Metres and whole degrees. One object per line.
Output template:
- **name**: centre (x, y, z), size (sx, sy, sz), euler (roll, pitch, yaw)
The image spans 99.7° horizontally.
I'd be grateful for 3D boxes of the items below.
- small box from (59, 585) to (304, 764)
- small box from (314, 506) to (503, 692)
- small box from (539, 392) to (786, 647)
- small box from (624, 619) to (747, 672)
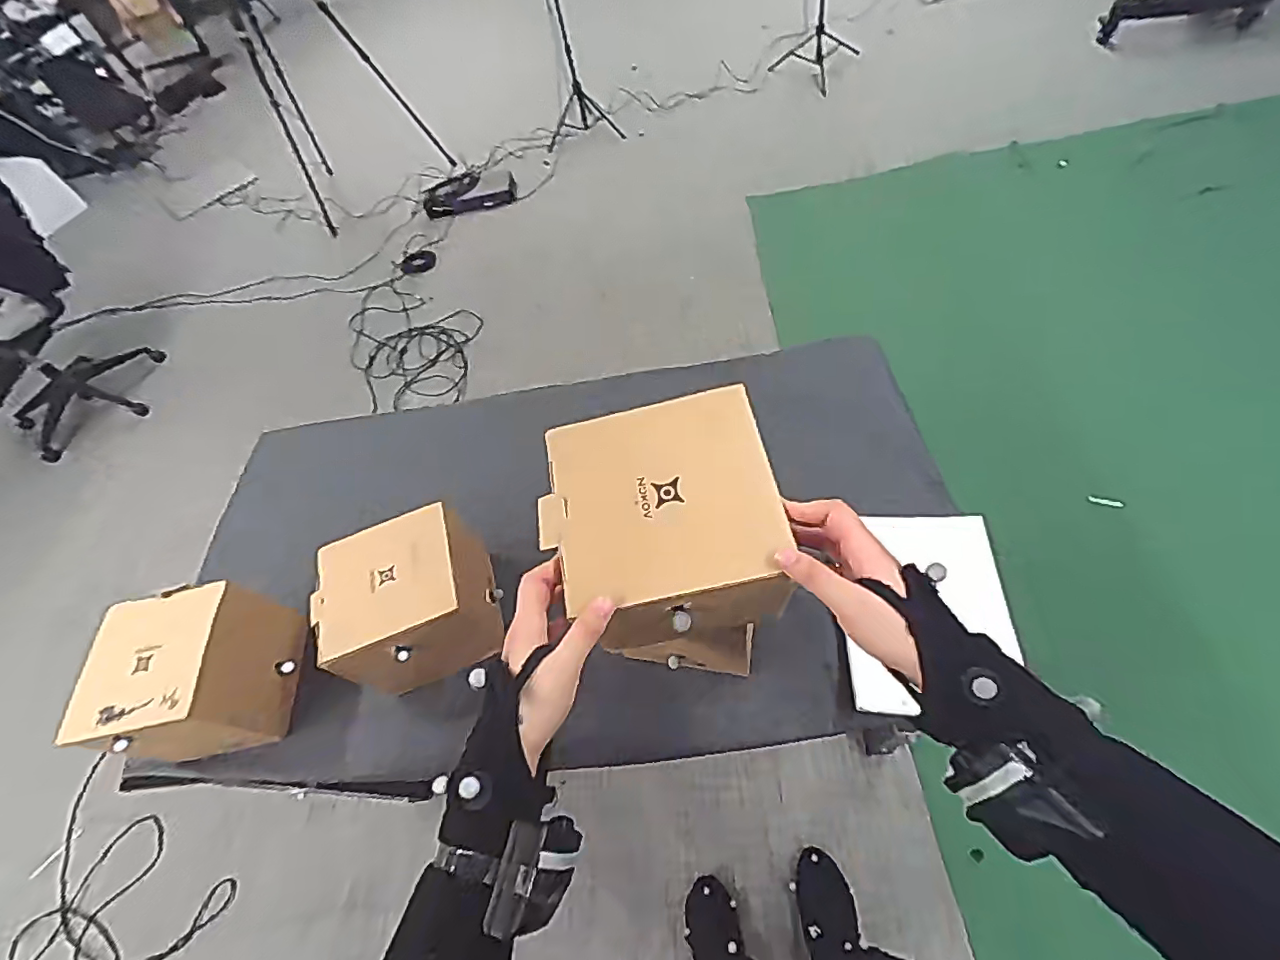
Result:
- **small box**: centre (-0.599, 0.270, 0.739), size (0.168, 0.176, 0.179), euler (-14, 56, 3)
- **small box**: centre (-0.312, 0.170, 0.744), size (0.179, 0.176, 0.168), euler (-22, 56, -3)
- **small box**: centre (0.022, 0.048, 0.504), size (0.179, 0.176, 0.168), euler (-14, 63, 5)
- **small box**: centre (0.053, 0.126, 0.690), size (0.168, 0.176, 0.179), euler (4, 58, 15)
